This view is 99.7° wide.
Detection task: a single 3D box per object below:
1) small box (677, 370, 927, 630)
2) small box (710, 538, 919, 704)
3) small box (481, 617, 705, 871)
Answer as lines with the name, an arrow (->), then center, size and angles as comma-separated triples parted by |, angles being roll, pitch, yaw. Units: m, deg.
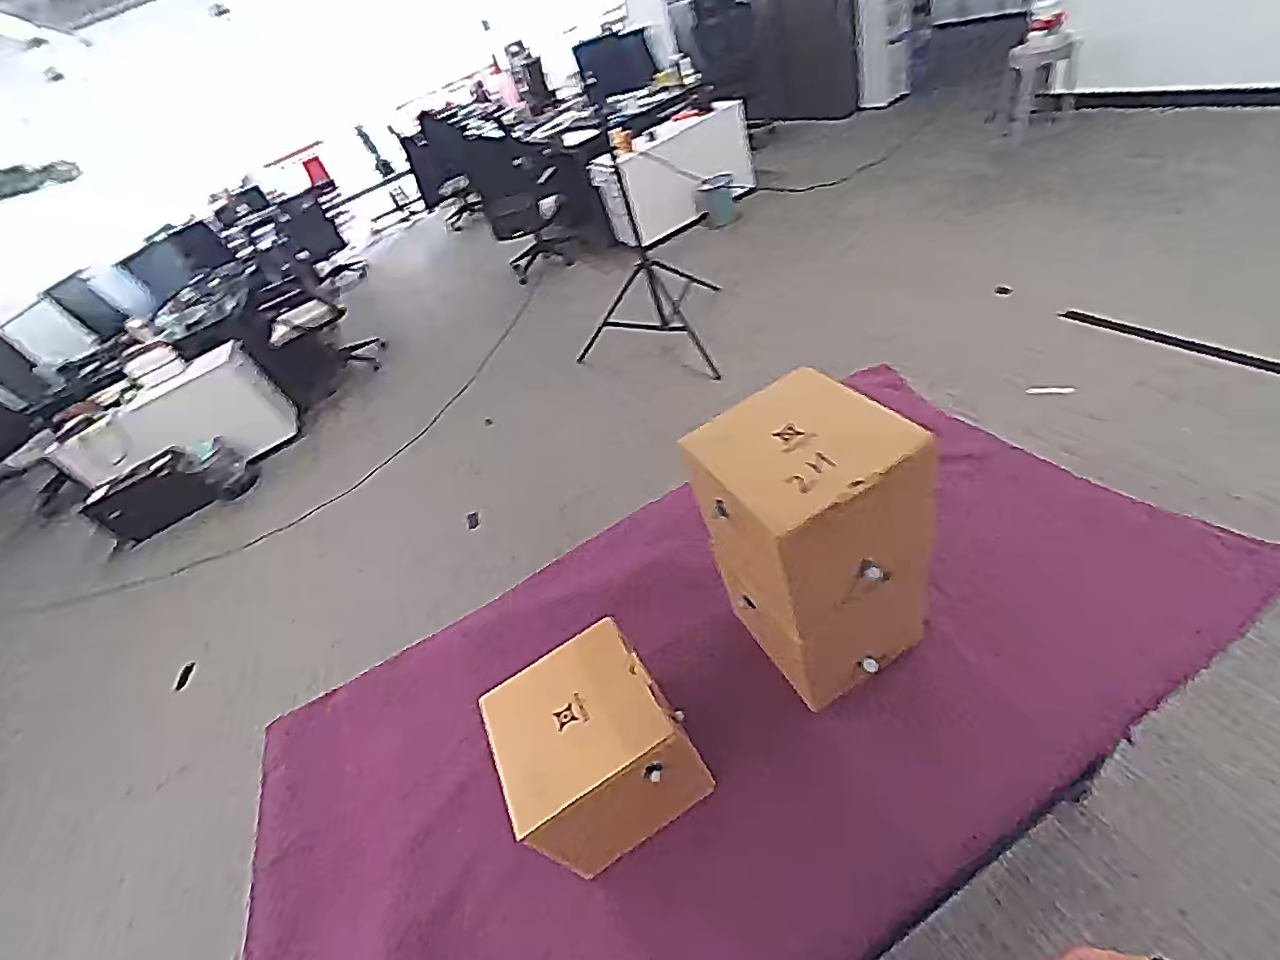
small box -> 0.165, 0.019, 0.564 | 0.168, 0.176, 0.179 | -31, 41, -7
small box -> 0.212, 0.137, 0.670 | 0.168, 0.176, 0.179 | -31, 41, -8
small box -> -0.050, 0.302, 0.619 | 0.179, 0.176, 0.168 | -31, 40, -10
